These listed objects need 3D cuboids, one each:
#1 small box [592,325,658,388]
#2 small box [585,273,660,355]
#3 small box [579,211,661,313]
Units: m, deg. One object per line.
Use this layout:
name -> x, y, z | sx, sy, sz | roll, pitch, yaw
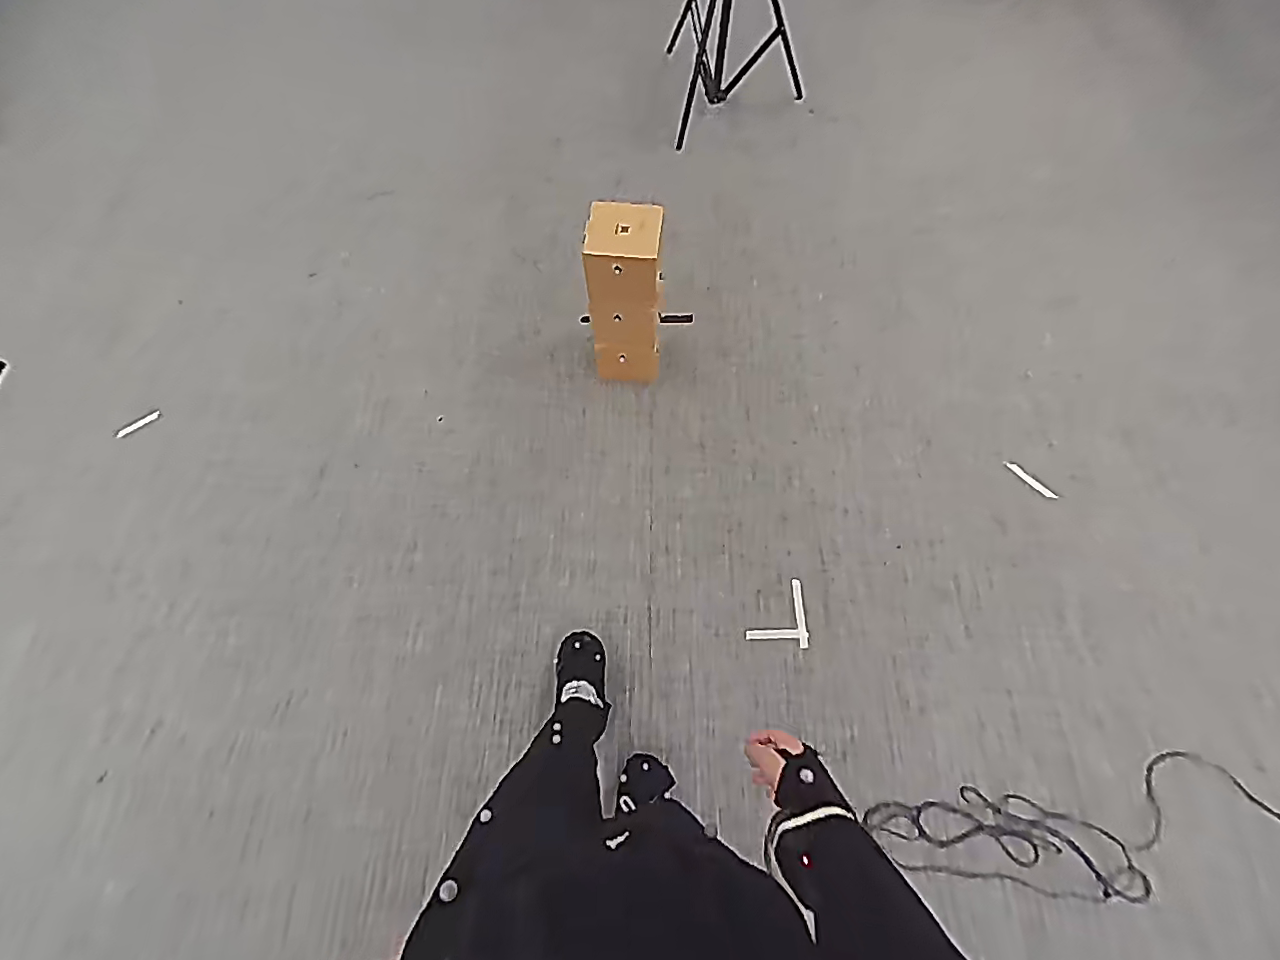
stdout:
small box -> -0.040, -0.392, 1.630 | 0.179, 0.176, 0.168 | 5, 67, 3
small box -> -0.042, -0.463, 1.482 | 0.179, 0.176, 0.168 | 8, 68, 4
small box -> -0.044, -0.533, 1.336 | 0.179, 0.176, 0.168 | 5, 68, 3
